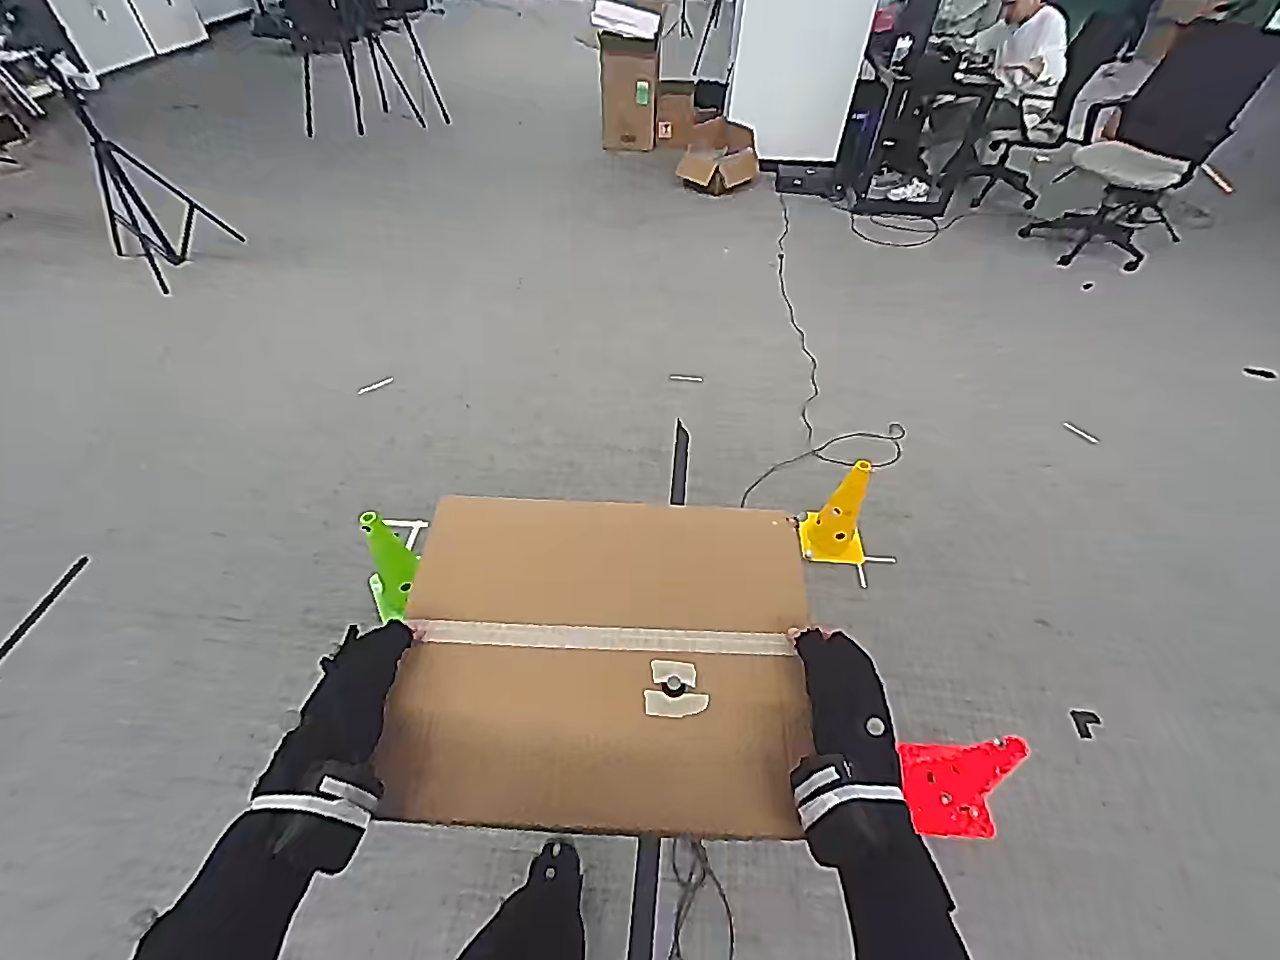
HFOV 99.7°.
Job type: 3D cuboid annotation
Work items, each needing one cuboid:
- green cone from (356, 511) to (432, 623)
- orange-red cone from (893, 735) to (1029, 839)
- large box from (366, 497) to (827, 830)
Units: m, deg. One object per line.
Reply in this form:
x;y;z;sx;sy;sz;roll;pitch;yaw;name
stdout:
-0.705;0.208;1.528;0.202;0.368;0.200;-25;53;-20;green cone
0.732;0.631;1.182;0.198;0.360;0.199;4;47;1;orange-red cone
-0.037;0.237;0.664;0.408;0.320;0.320;3;56;0;large box
